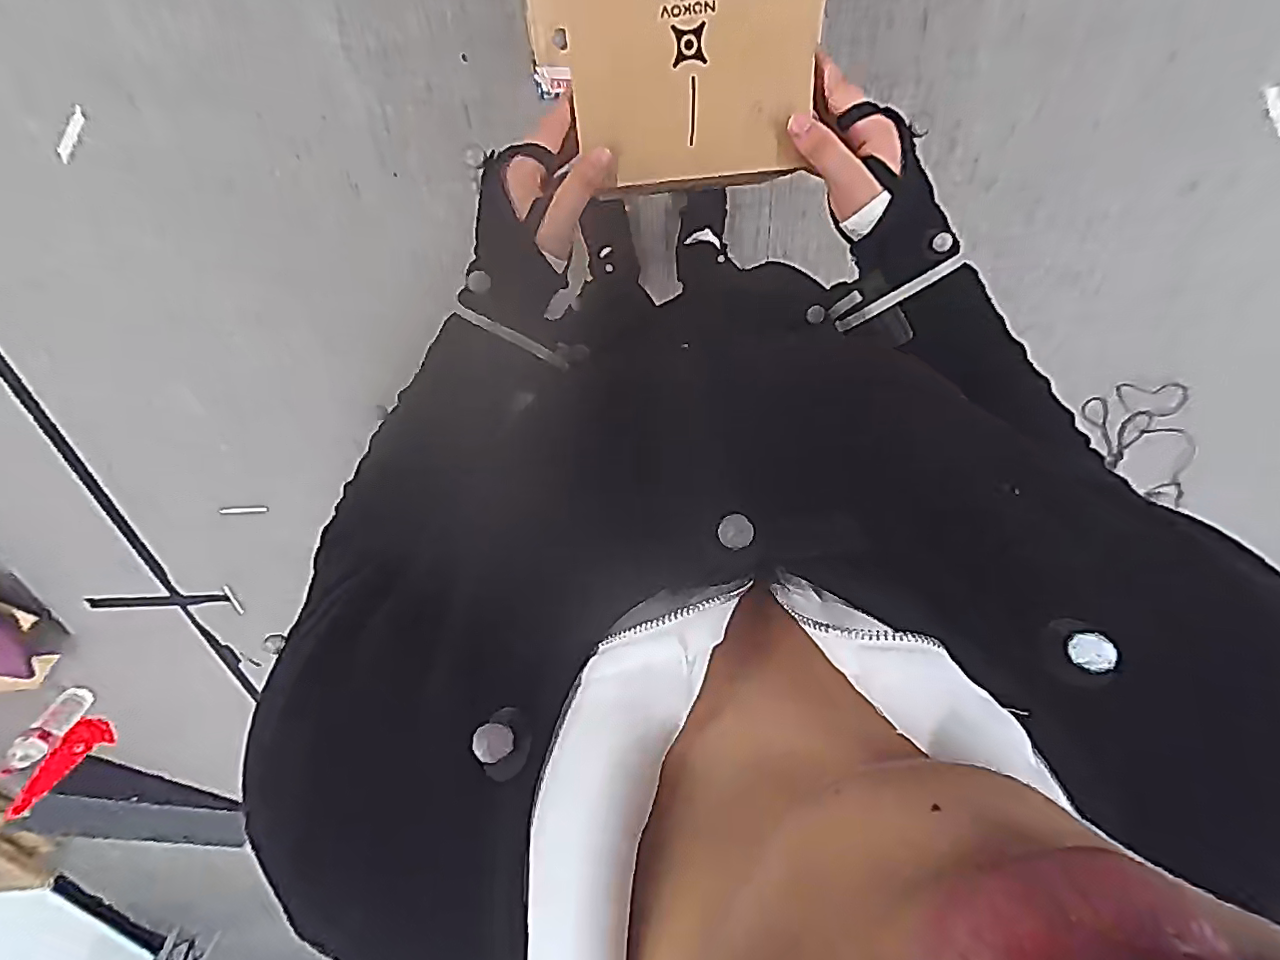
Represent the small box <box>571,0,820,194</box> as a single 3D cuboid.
[{"bbox_3d":[0.036,-0.336,0.428,0.168,0.176,0.179,-4,115,3],"label":"small box"}]
